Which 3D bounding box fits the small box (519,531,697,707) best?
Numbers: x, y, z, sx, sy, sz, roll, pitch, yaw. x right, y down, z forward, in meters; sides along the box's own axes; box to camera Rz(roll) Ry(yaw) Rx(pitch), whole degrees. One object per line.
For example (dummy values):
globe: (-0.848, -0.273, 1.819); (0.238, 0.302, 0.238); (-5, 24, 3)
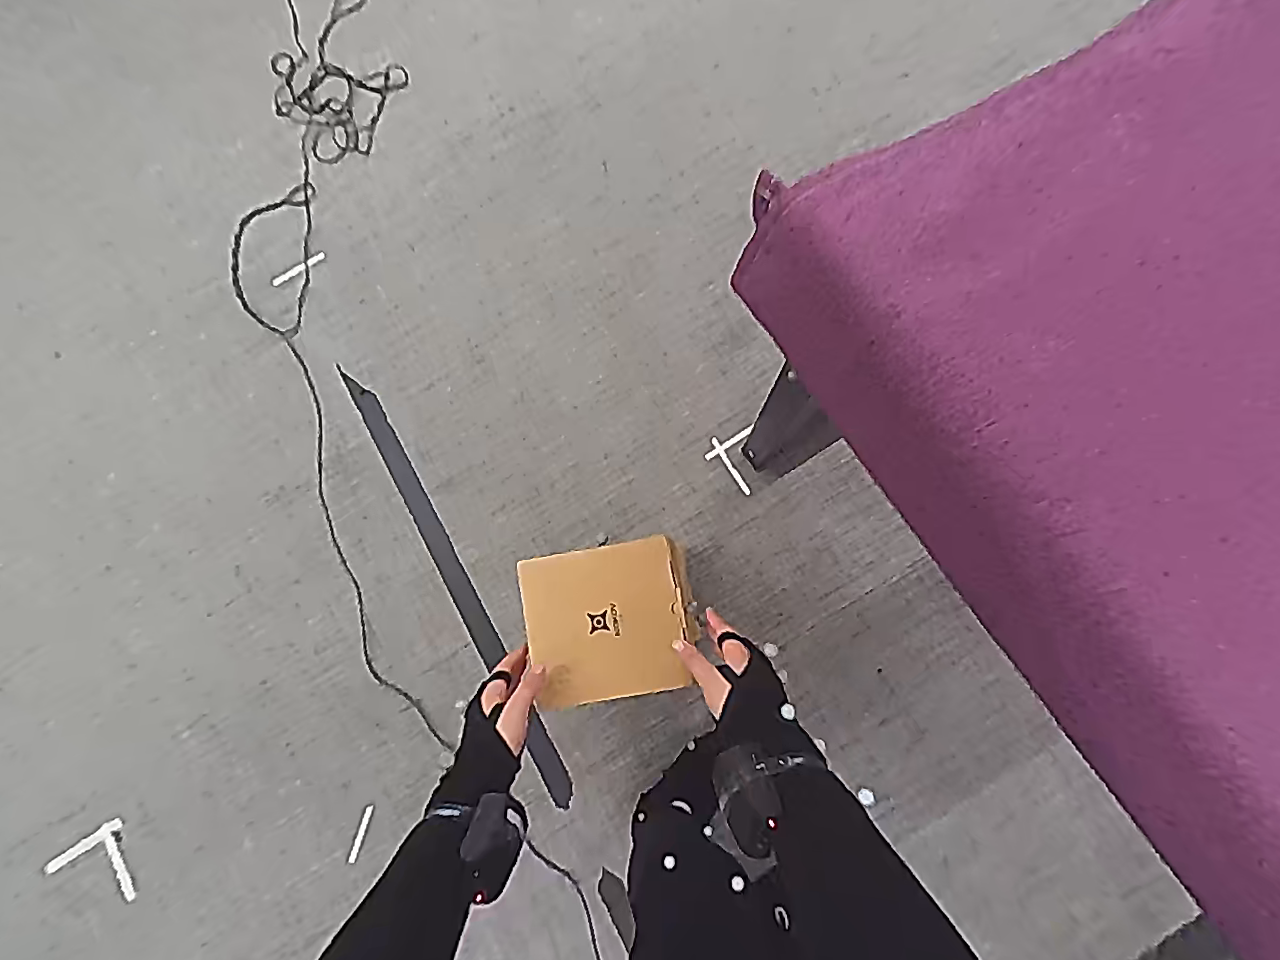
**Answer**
small box: (-0.029, 0.163, 0.670); (0.179, 0.176, 0.168); (-12, 82, 4)
